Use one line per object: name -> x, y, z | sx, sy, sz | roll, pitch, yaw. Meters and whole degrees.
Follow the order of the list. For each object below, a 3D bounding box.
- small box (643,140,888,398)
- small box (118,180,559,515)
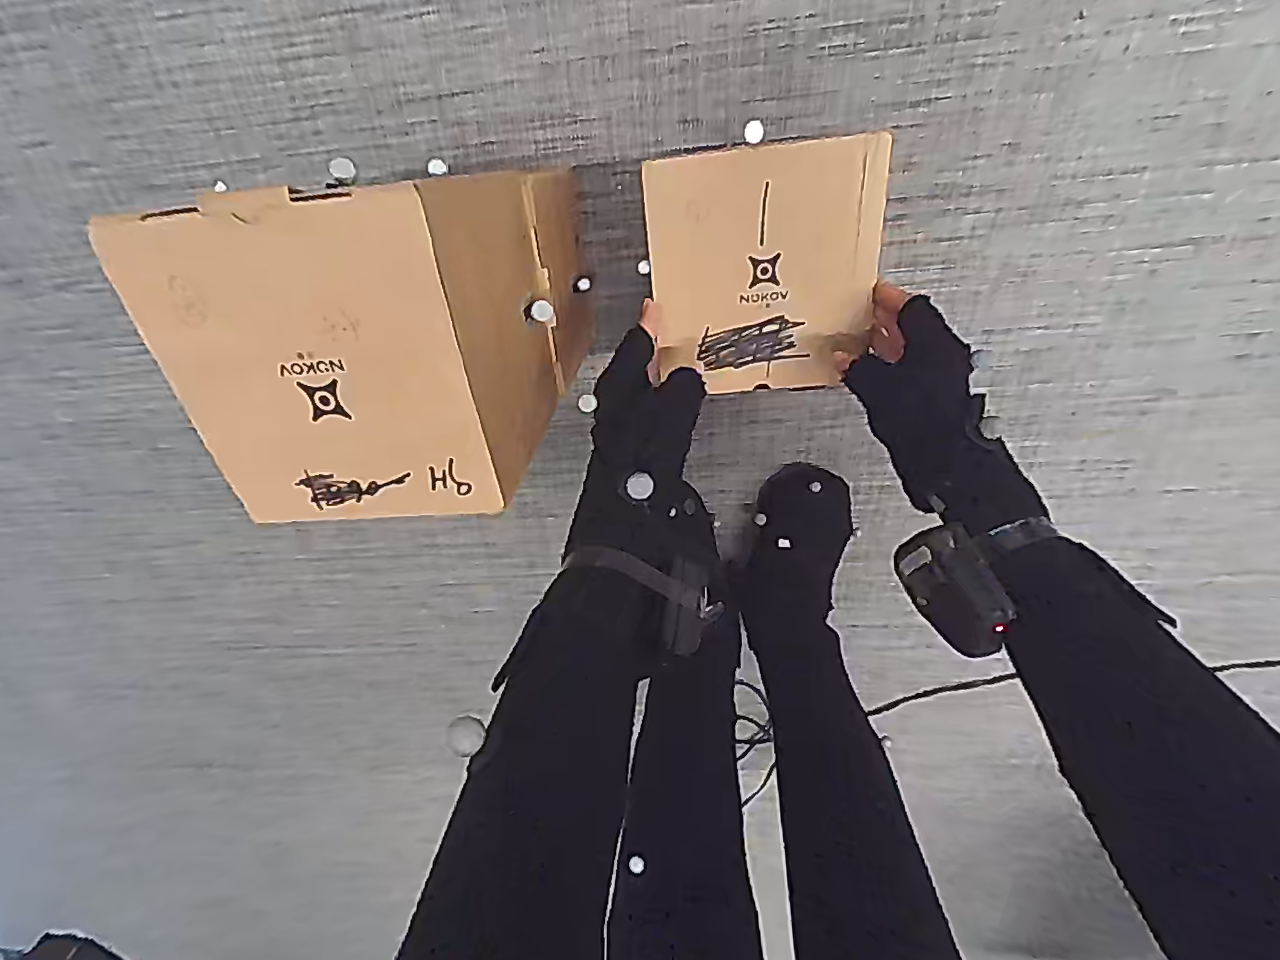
small box -> 0.097, -0.188, 0.474 | 0.168, 0.176, 0.179 | -3, 120, 7
small box -> -0.160, -0.096, 0.363 | 0.168, 0.176, 0.179 | -2, 120, 7
